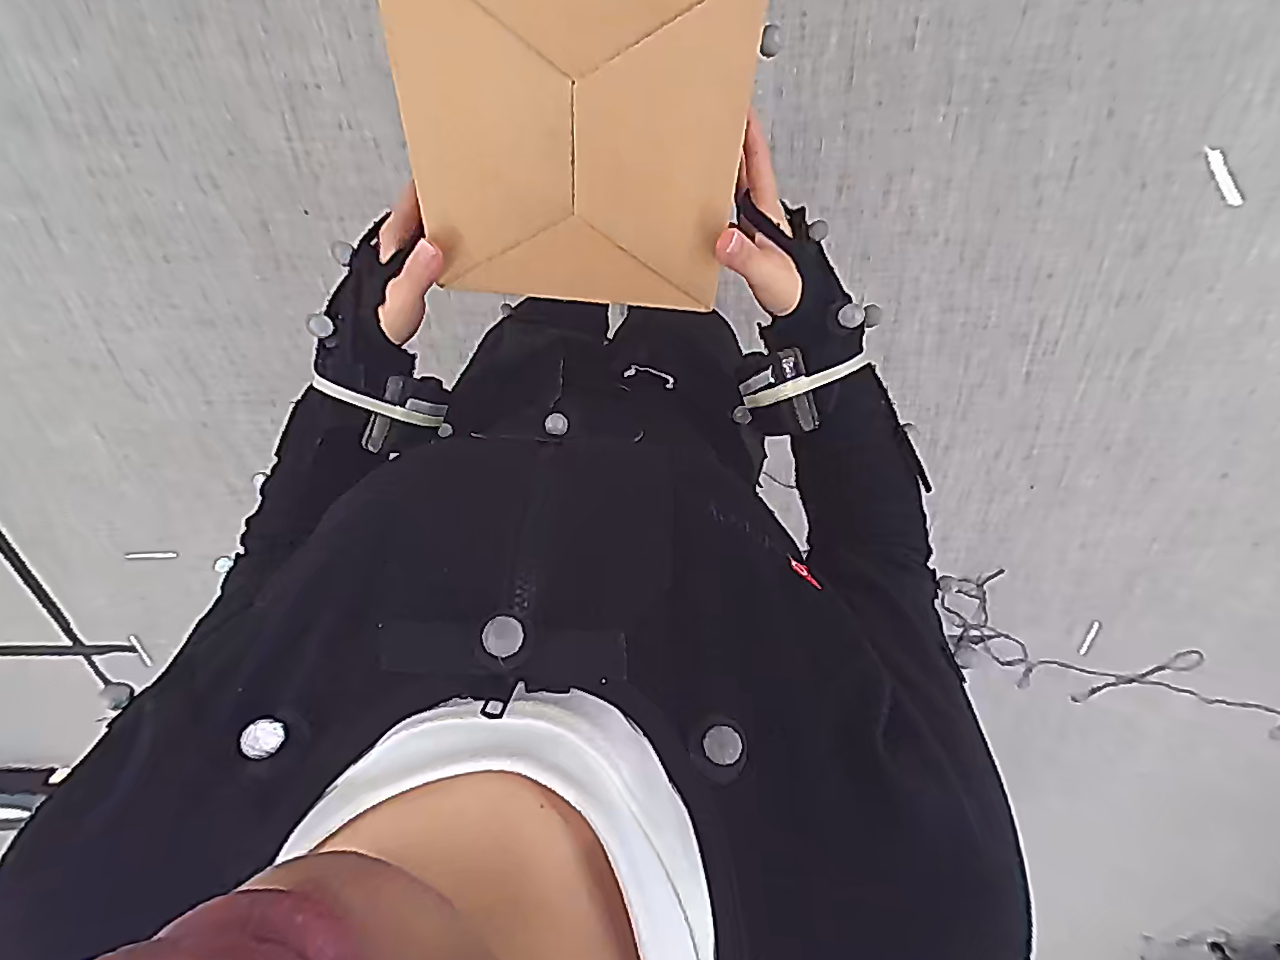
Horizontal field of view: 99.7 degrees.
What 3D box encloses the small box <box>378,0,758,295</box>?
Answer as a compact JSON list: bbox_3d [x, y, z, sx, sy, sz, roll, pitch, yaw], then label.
[{"bbox_3d":[-0.031,-0.230,0.335,0.179,0.176,0.168,5,134,-2],"label":"small box"}]
